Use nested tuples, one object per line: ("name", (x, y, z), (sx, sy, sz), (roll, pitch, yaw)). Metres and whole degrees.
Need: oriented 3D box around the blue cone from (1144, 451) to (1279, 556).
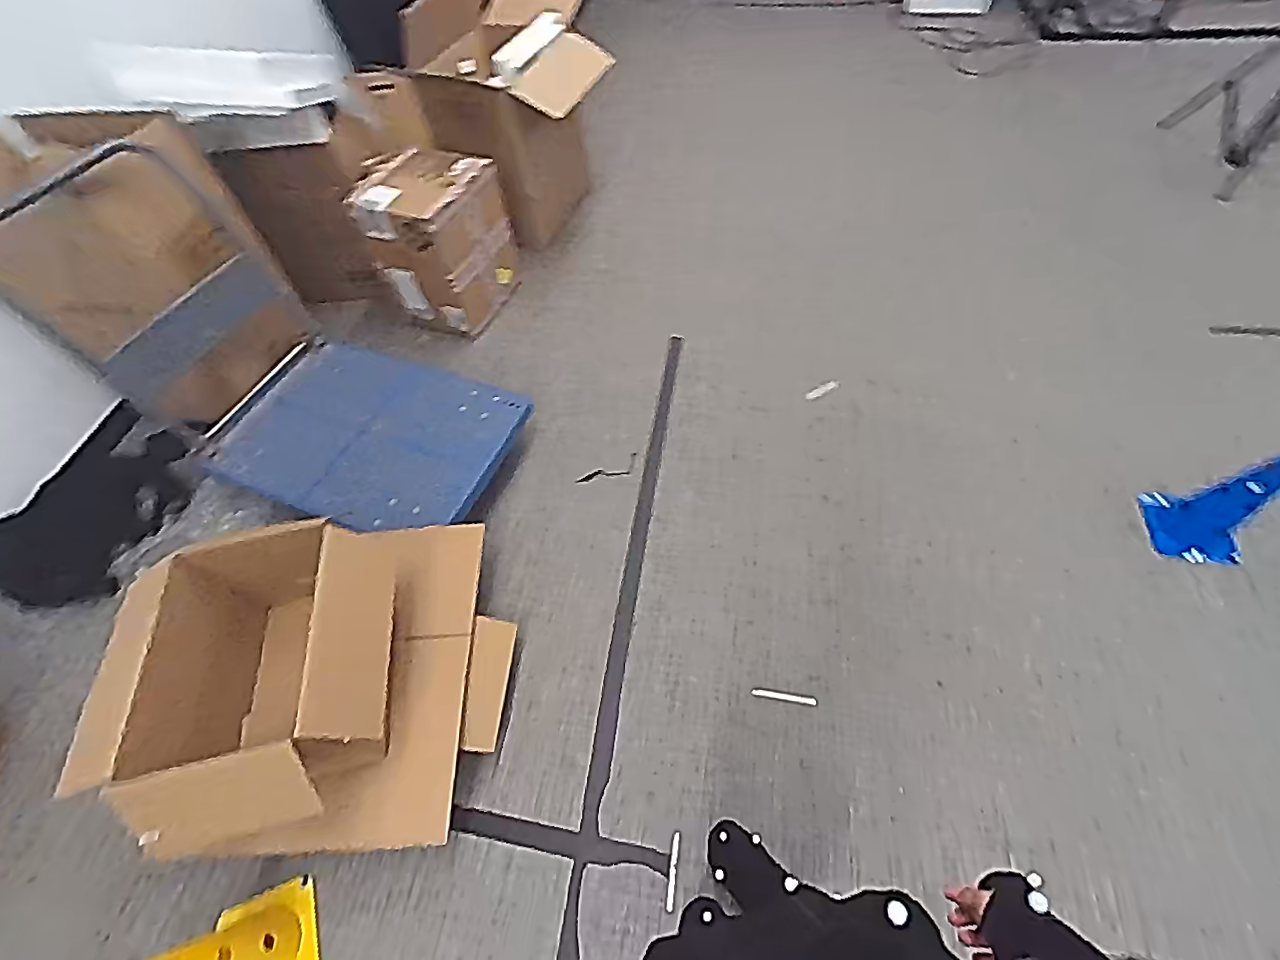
("blue cone", (1.480, 0.023, 1.330), (0.192, 0.380, 0.193), (9, 59, 10))
